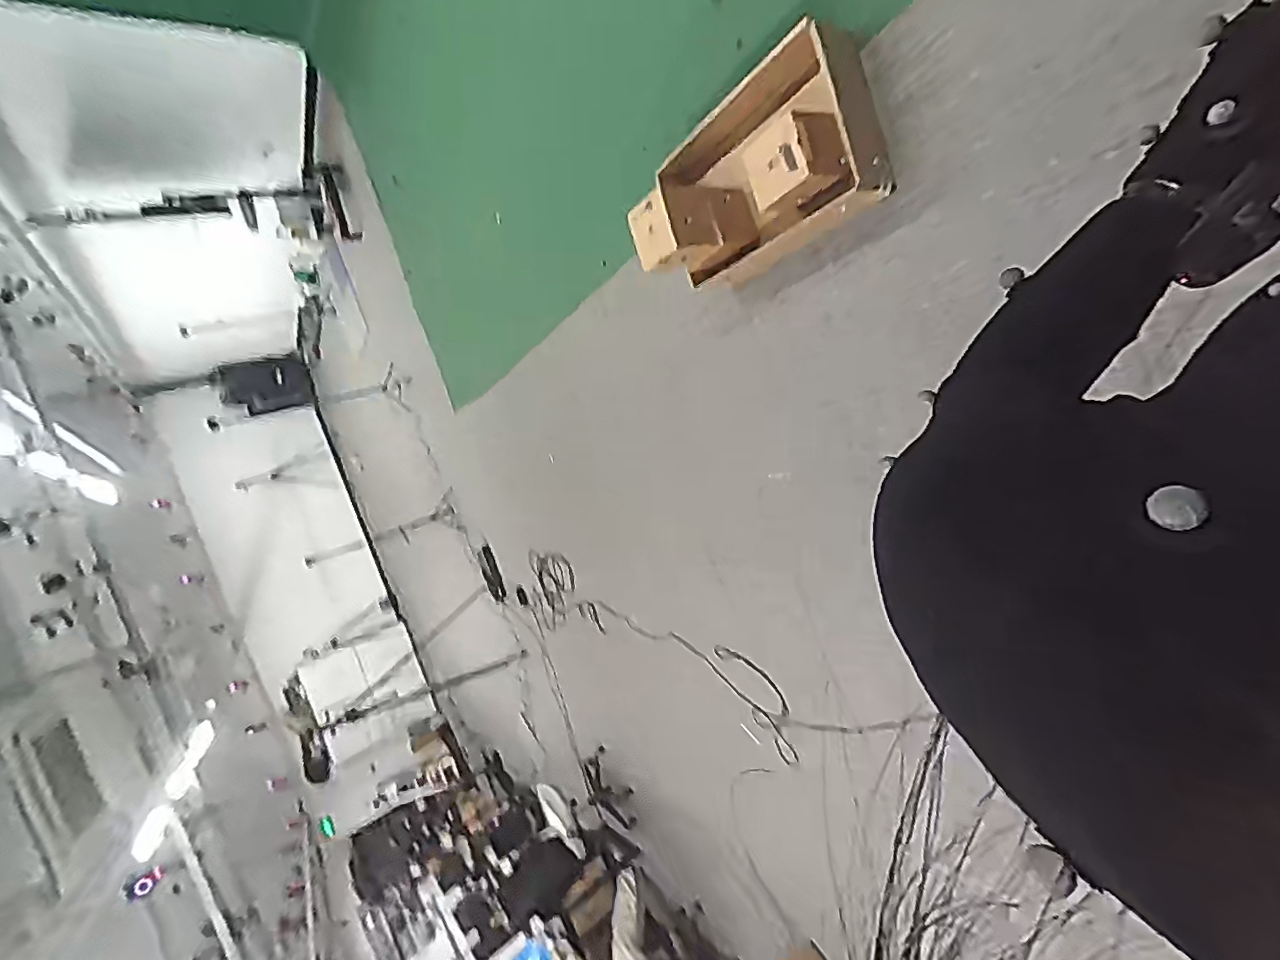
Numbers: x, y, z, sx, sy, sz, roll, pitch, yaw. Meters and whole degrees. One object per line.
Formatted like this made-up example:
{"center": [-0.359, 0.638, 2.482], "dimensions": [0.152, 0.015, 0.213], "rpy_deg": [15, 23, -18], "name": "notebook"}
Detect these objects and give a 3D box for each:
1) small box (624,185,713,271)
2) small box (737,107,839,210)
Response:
{"center": [0.086, -0.737, 1.576], "dimensions": [0.168, 0.176, 0.179], "rpy_deg": [-9, 103, 55], "name": "small box"}
{"center": [0.391, -0.830, 1.401], "dimensions": [0.179, 0.176, 0.168], "rpy_deg": [-12, 100, 56], "name": "small box"}
